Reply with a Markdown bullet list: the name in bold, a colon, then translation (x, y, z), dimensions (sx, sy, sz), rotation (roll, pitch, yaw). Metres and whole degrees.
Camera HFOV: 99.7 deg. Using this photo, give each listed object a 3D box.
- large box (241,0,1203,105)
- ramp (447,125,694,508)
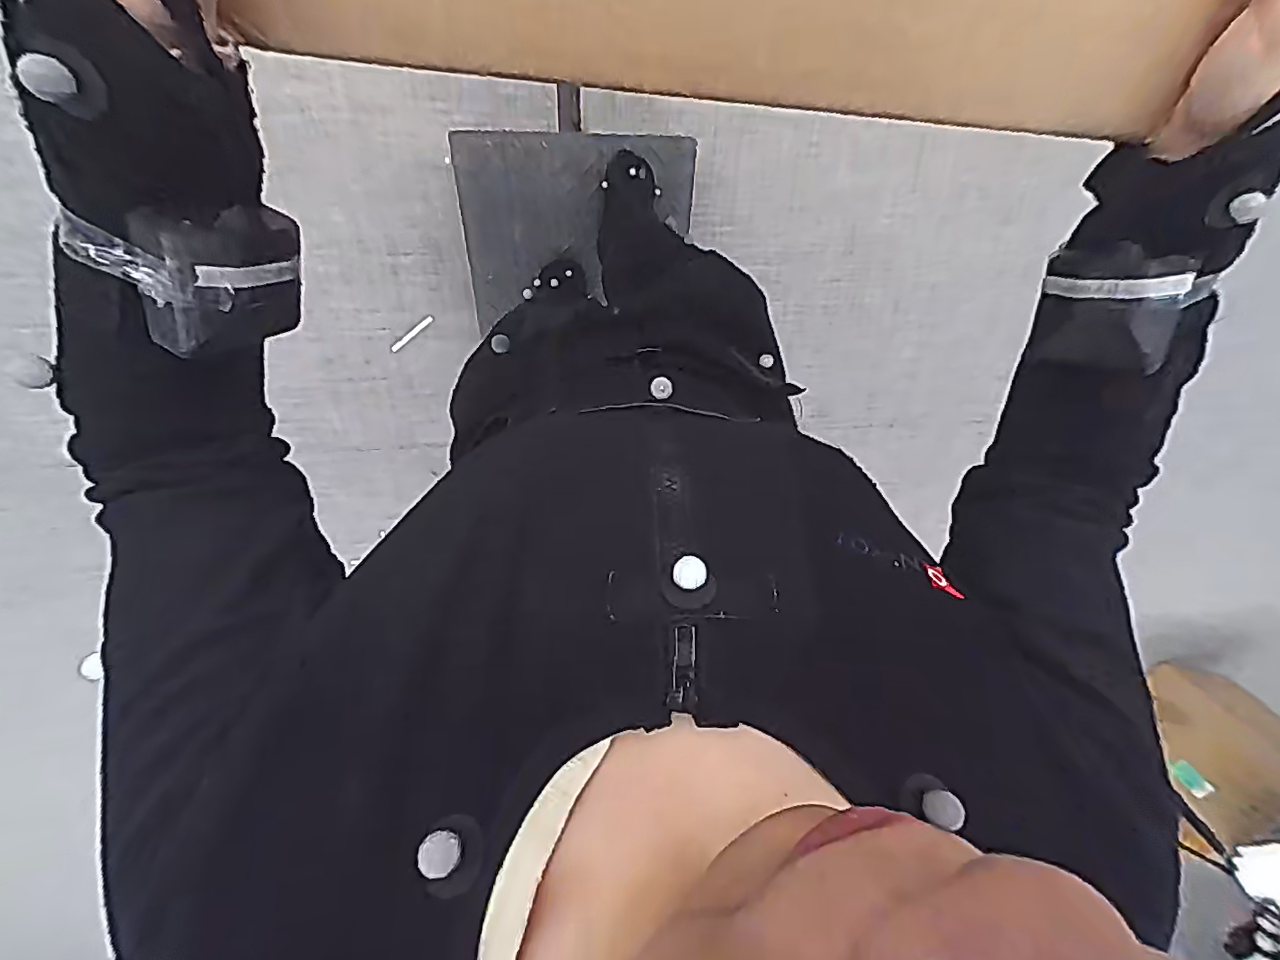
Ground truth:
- **large box**: translation (0.040, -0.391, 0.230), dimensions (0.408, 0.320, 0.320), rotation (0, 137, -7)
- **ramp**: translation (-0.150, -0.308, 1.379), dimensions (0.509, 0.206, 0.991), rotation (-4, 121, -7)
